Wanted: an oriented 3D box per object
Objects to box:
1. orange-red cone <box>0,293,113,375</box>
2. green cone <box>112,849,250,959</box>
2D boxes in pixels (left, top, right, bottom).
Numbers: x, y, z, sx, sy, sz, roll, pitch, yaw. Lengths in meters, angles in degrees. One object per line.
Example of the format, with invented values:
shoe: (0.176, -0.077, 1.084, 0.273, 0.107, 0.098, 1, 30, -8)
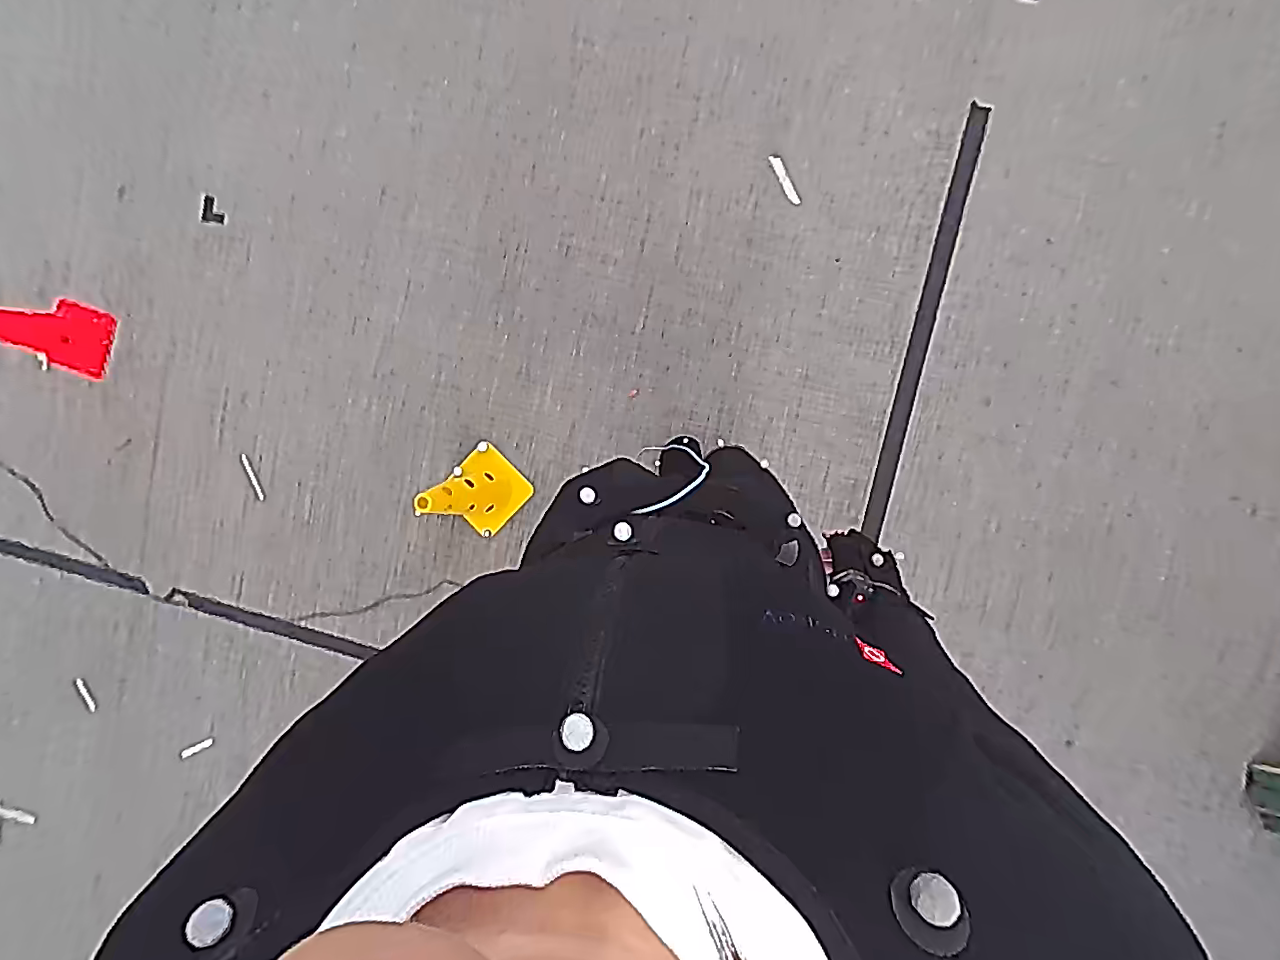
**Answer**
orange-red cone: (-1.655, -0.410, 1.406, 0.199, 0.360, 0.198, 21, 96, 3)
green cone: (-1.313, 1.241, 1.487, 0.202, 0.368, 0.200, -2, 93, 7)
